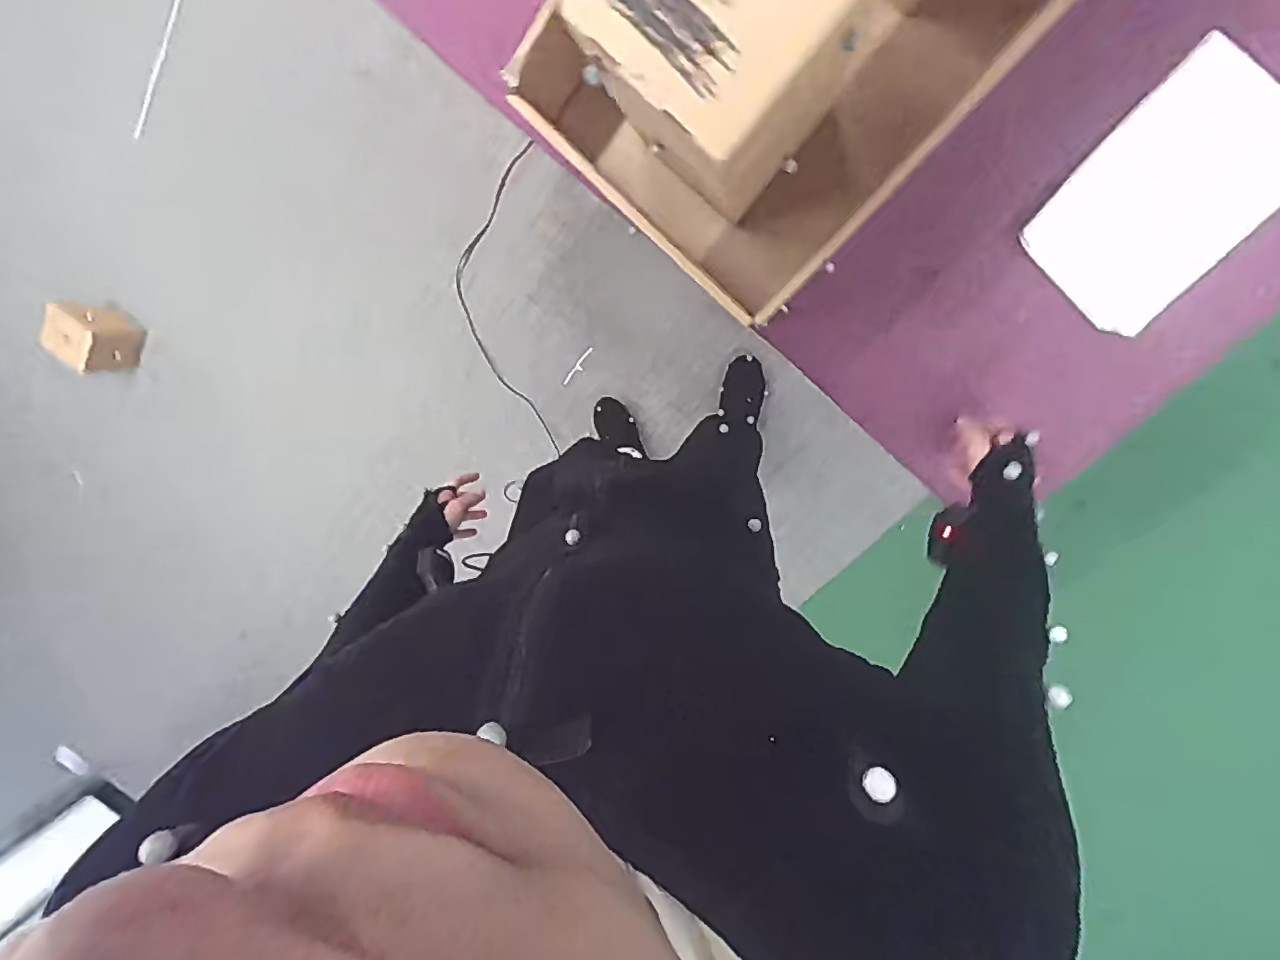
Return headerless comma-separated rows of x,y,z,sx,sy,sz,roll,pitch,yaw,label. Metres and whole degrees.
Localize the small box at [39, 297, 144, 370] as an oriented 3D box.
-1.837,-0.496,1.818,0.179,0.176,0.168,38,109,-1,small box
